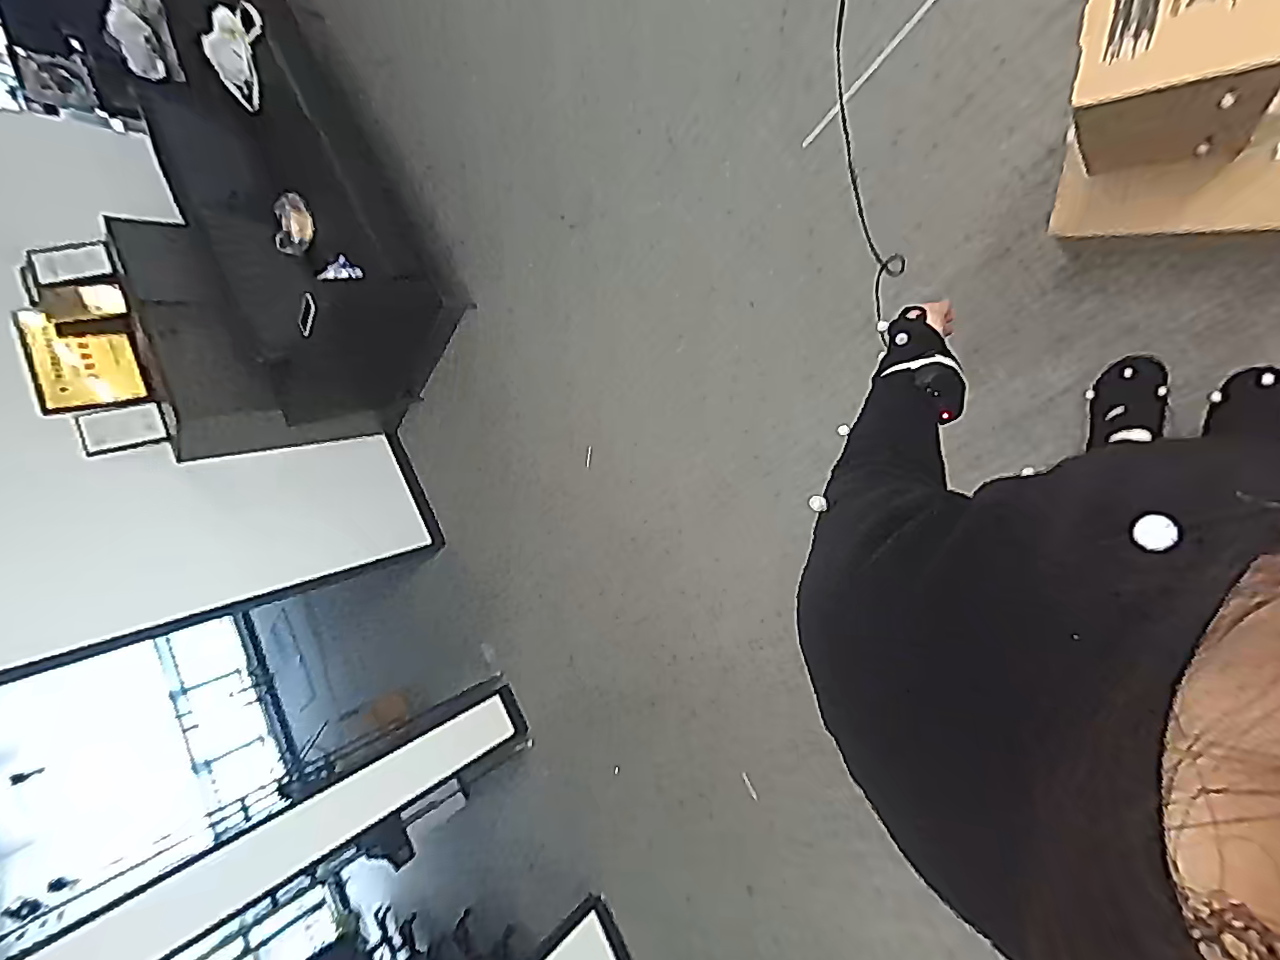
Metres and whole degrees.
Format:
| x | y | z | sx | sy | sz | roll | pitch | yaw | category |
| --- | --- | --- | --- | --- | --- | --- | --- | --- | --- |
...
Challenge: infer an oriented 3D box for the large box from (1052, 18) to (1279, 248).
| x | y | z | sx | sy | sz | roll | pitch | yaw | category |
| --- | --- | --- | --- | --- | --- | --- | --- | --- | --- |
| 0.945 | -0.559 | 0.857 | 0.408 | 0.320 | 0.320 | 17 | 114 | 38 | large box |

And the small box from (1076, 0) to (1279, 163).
| x | y | z | sx | sy | sz | roll | pitch | yaw | category |
| --- | --- | --- | --- | --- | --- | --- | --- | --- | --- |
| 0.720 | -0.549 | 0.727 | 0.179 | 0.176 | 0.168 | 13 | 109 | 40 | small box |
